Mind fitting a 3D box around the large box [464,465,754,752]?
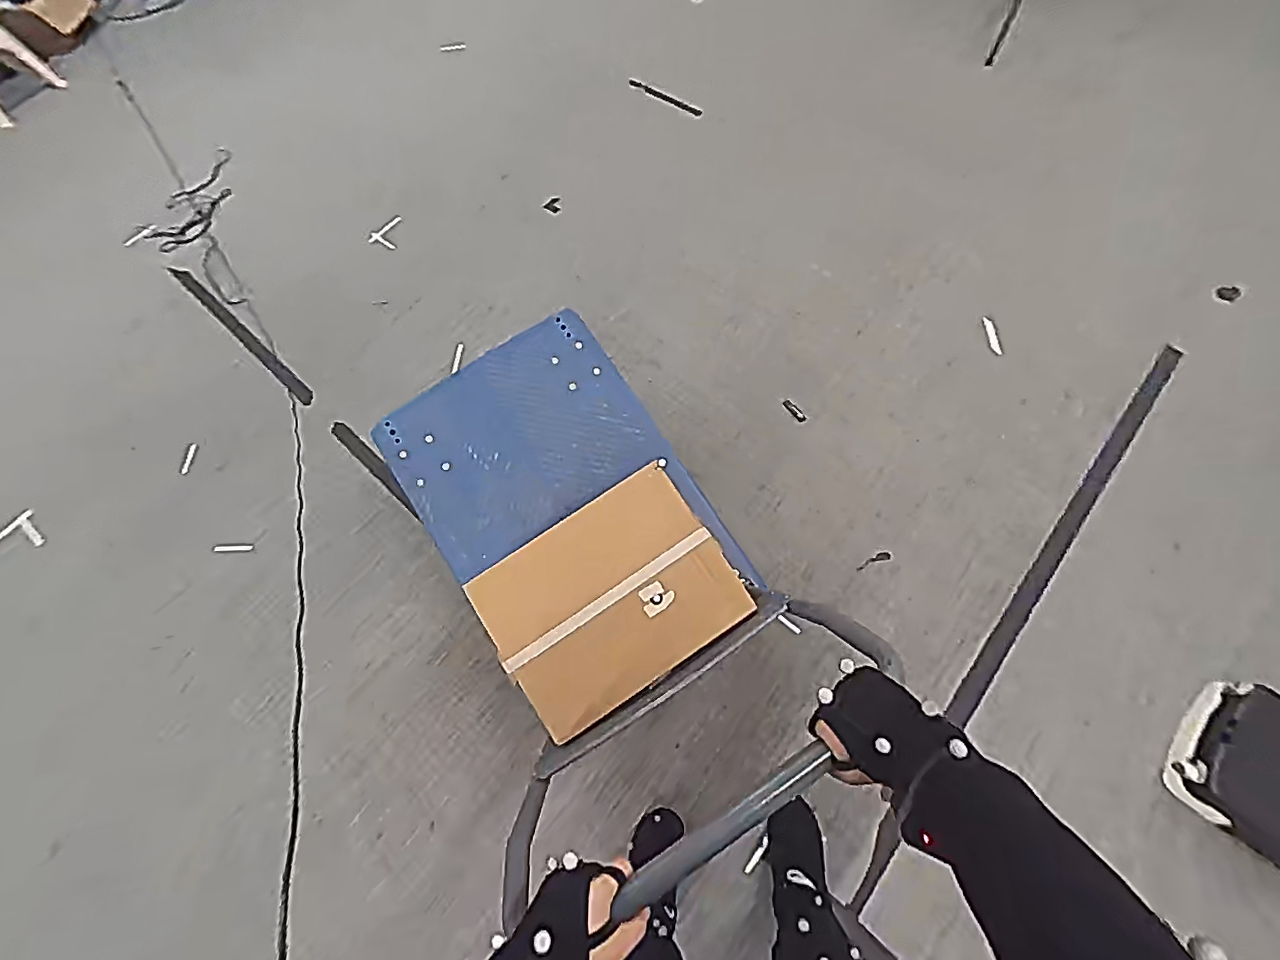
[{"bbox_3d":[-0.054,0.234,1.052,0.408,0.320,0.320,-34,82,-7],"label":"large box"}]
